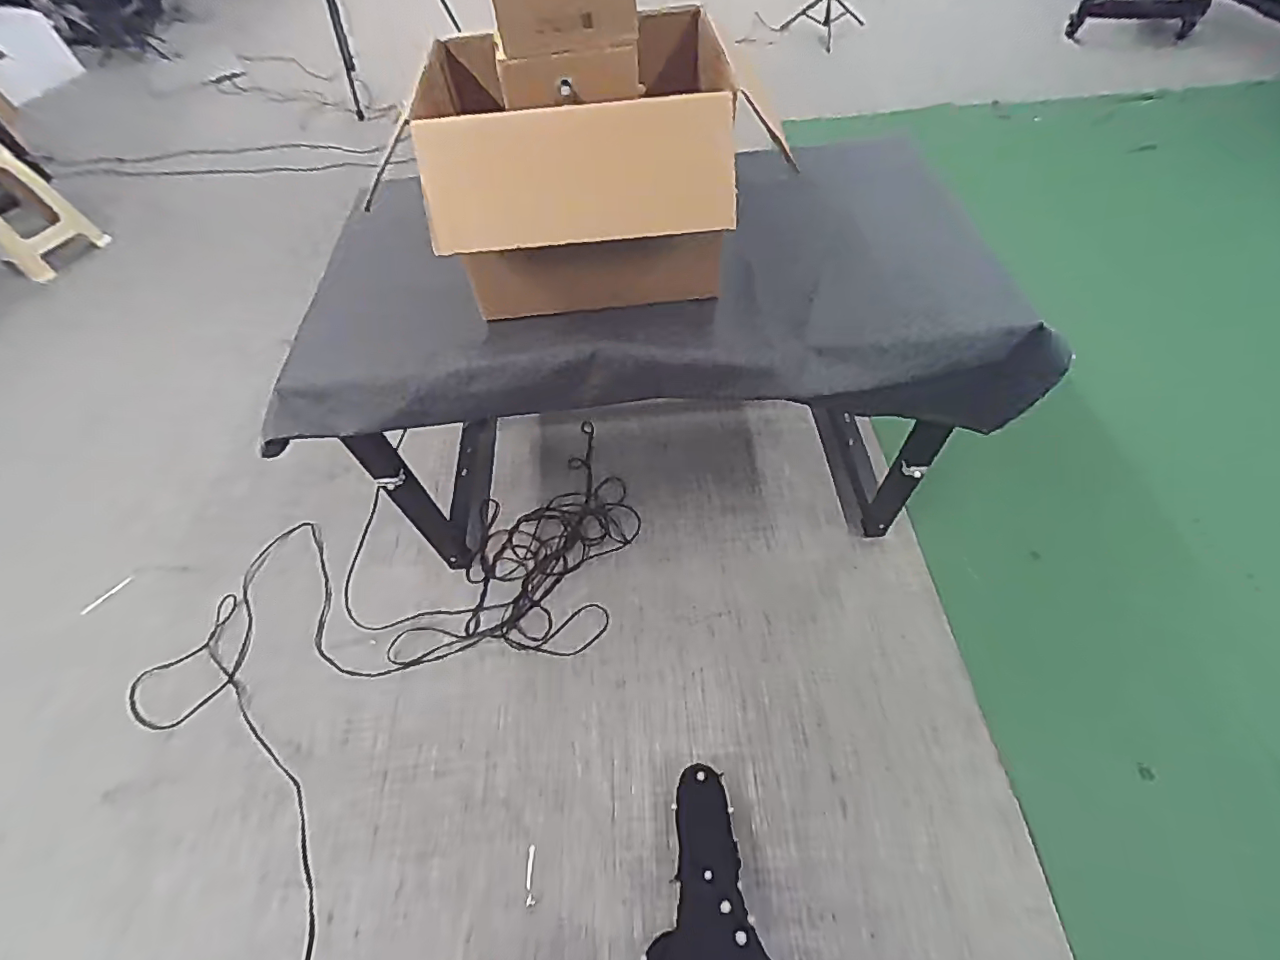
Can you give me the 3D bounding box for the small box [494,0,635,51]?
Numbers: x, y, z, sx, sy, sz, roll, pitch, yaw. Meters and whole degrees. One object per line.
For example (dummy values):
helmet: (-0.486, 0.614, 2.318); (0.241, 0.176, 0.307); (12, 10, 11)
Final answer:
small box: (-0.099, -0.637, 0.643); (0.168, 0.176, 0.179); (-8, 55, -3)
